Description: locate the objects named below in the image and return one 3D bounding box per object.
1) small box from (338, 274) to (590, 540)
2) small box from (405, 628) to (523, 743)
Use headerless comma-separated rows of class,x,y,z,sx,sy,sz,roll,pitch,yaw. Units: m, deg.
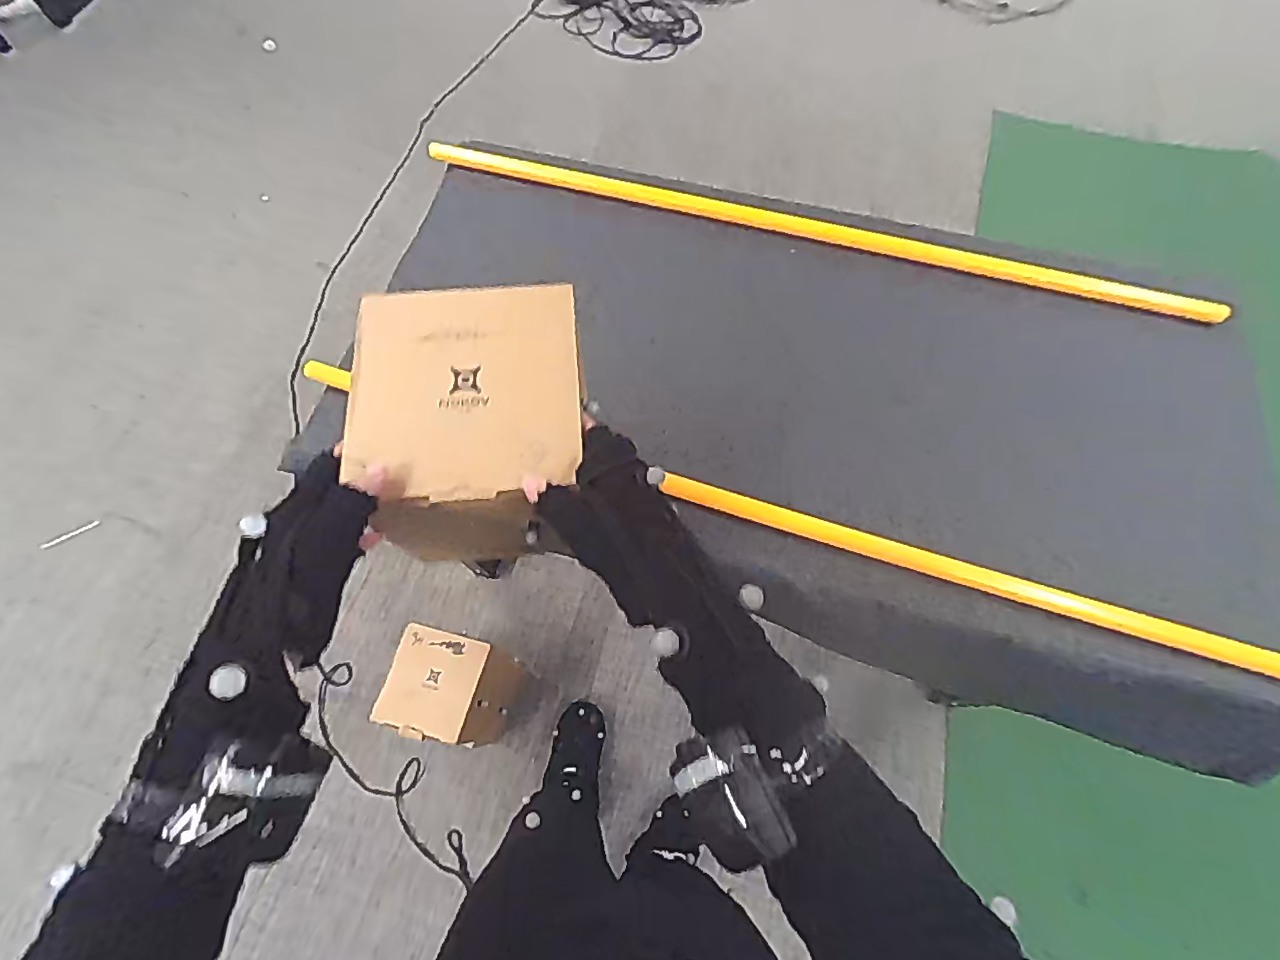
small box,-0.133,-0.051,0.472,0.168,0.176,0.179,-4,68,-5
small box,-0.373,0.450,1.190,0.168,0.176,0.179,22,70,9
